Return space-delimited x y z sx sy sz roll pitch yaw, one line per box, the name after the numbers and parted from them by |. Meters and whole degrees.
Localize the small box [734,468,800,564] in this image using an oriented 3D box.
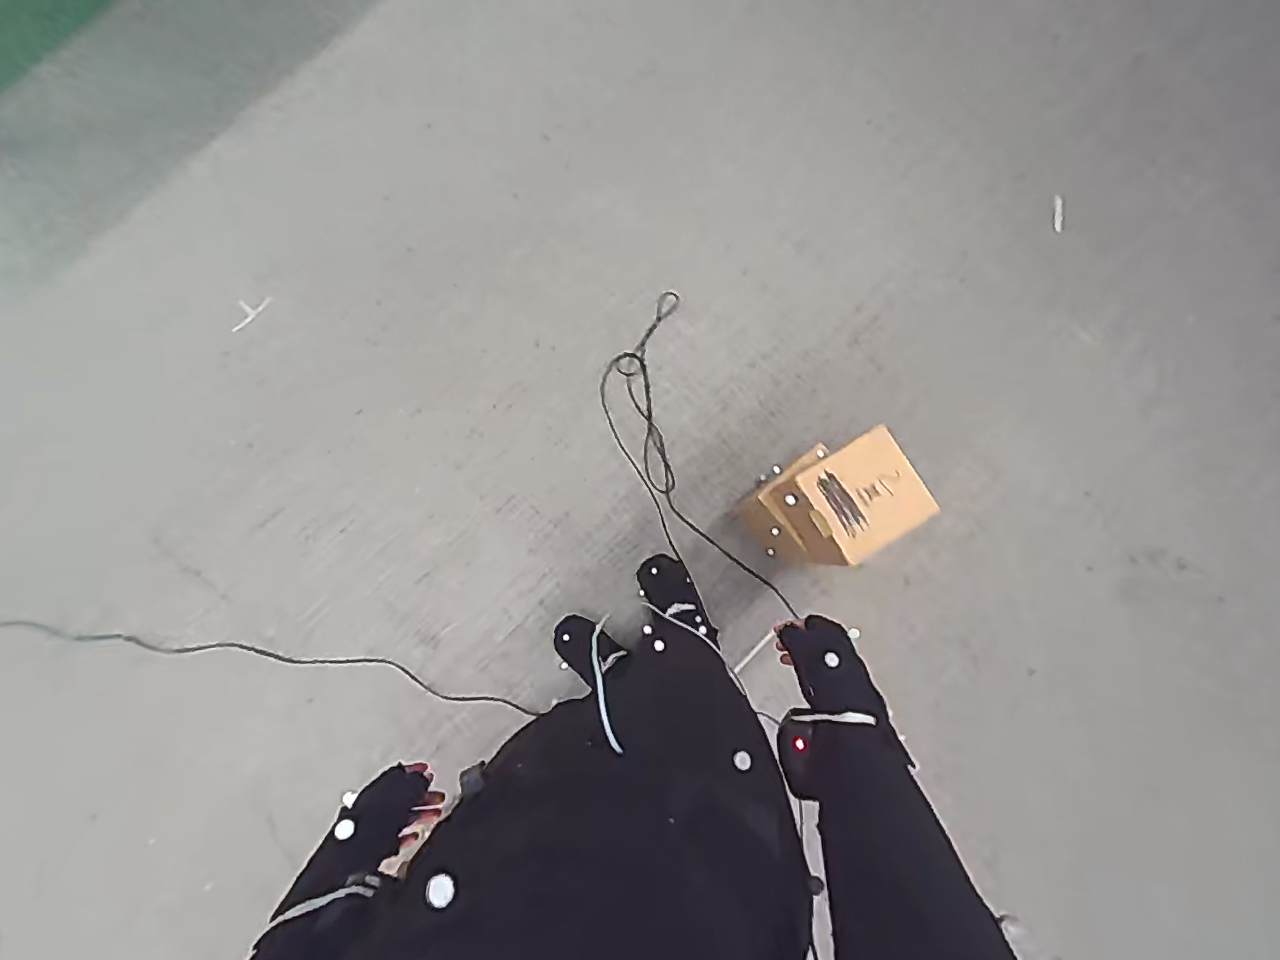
0.341 0.072 1.244 0.168 0.176 0.179 -38 84 -4 | small box

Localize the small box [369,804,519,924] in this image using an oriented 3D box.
-0.355 0.763 1.018 0.168 0.176 0.179 -41 84 -3 | small box

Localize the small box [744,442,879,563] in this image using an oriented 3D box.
0.335 0.052 1.098 0.168 0.176 0.179 -40 85 -4 | small box

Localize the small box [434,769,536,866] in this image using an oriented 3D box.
-0.346 0.777 1.182 0.179 0.176 0.168 -42 84 -4 | small box
